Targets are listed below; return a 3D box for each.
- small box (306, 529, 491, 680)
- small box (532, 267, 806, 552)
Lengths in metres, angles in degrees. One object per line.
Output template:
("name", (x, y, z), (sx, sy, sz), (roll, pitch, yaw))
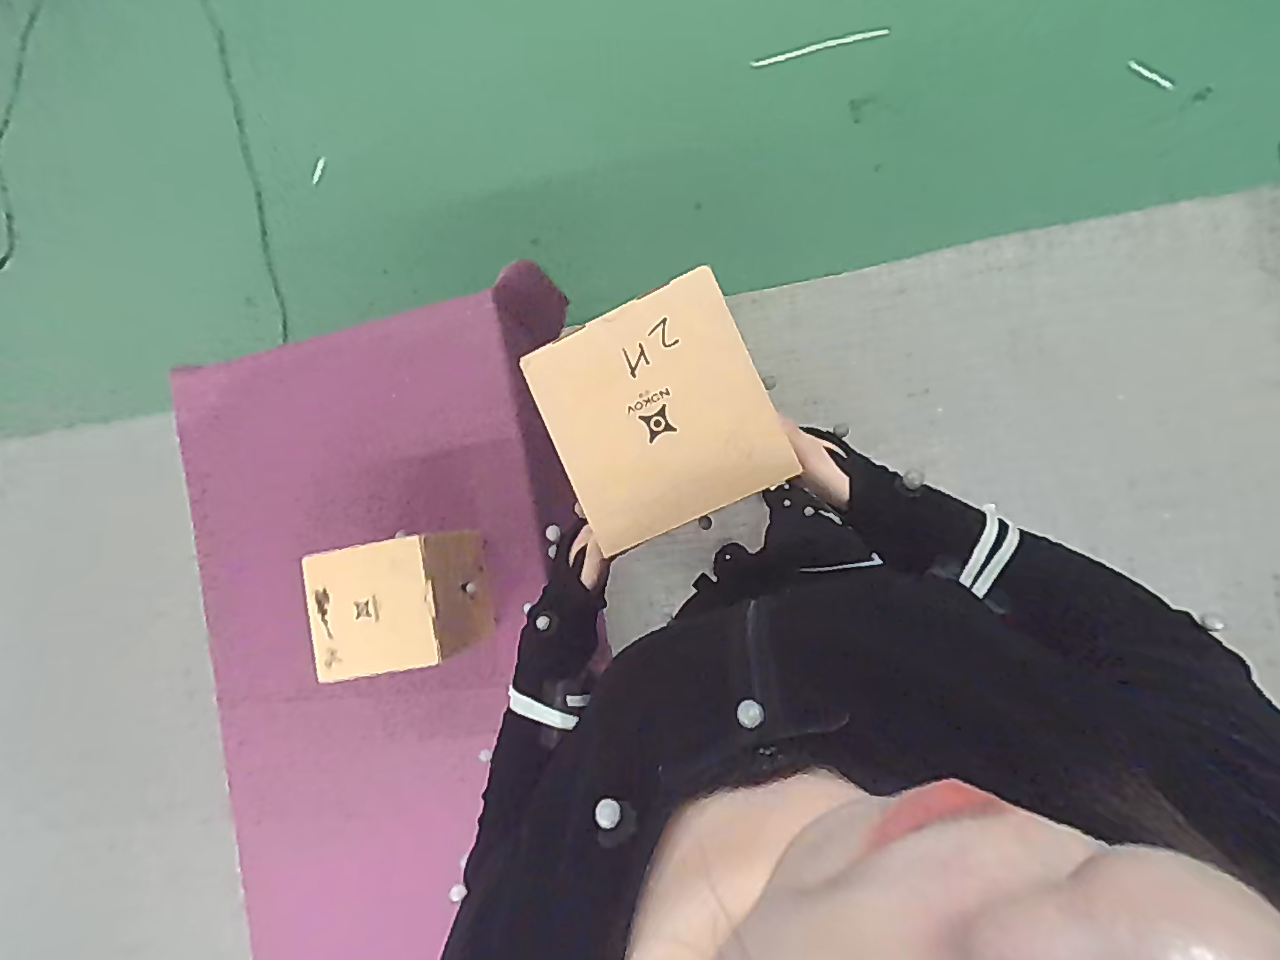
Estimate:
("small box", (-0.328, 0.166, 0.771), (0.179, 0.176, 0.168), (-11, 86, 8))
("small box", (0.033, -0.054, 0.492), (0.168, 0.176, 0.179), (-23, 87, 9))
